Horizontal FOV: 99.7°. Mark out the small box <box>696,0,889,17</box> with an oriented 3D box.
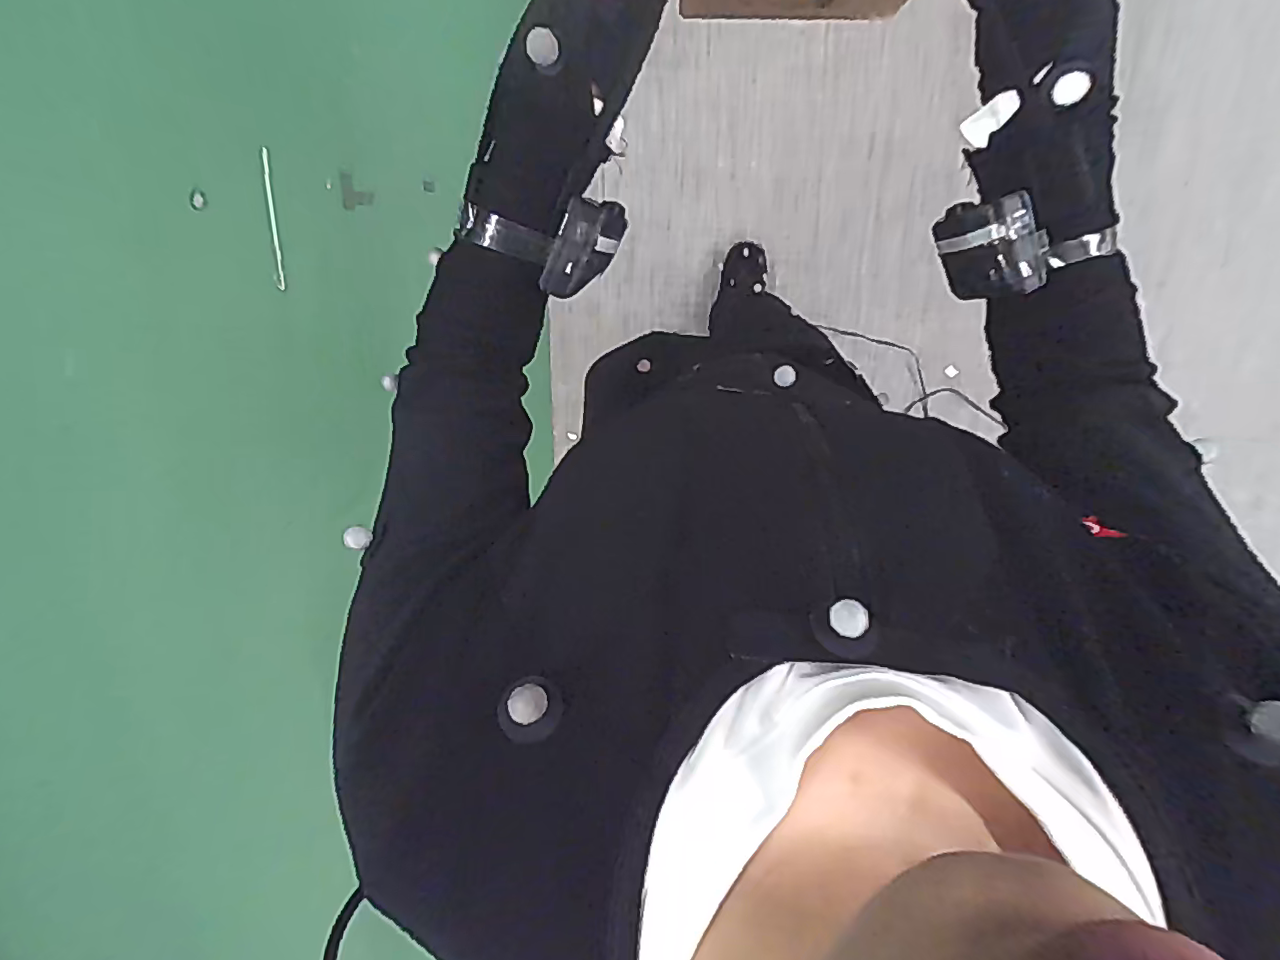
[{"bbox_3d":[0.108,-0.412,0.315,0.168,0.176,0.179,0,106,0],"label":"small box"}]
